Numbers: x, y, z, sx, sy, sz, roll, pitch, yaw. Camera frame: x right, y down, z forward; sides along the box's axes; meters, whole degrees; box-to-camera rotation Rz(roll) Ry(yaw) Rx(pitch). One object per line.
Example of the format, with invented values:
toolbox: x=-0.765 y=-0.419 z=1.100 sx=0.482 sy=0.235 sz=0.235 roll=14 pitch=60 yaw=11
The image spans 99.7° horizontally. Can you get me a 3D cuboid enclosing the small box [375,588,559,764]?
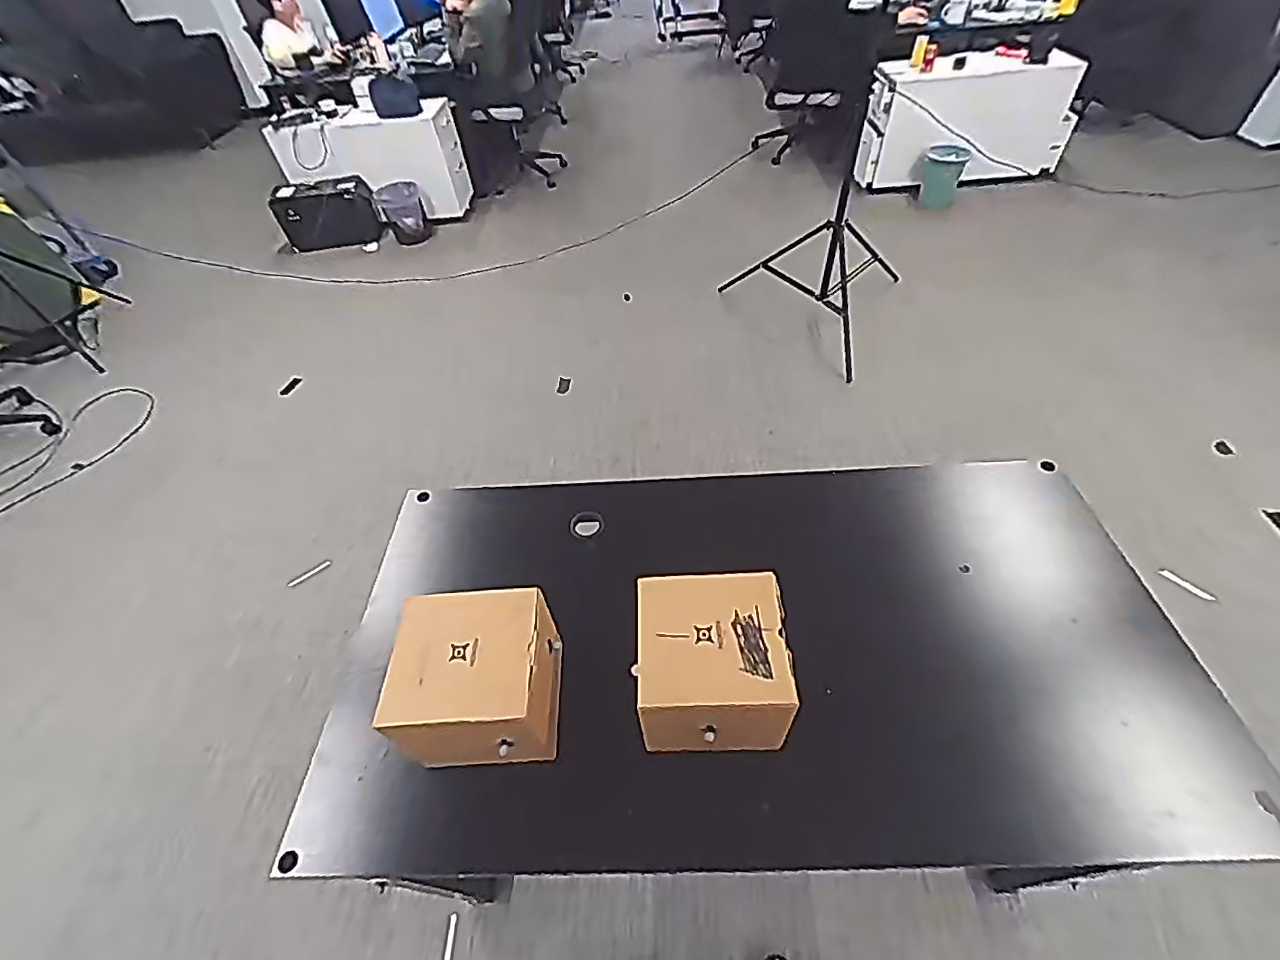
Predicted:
small box: x=-0.206 y=0.260 z=0.710 sx=0.179 sy=0.176 sz=0.168 roll=-5 pitch=48 yaw=1

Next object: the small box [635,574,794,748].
small box: x=0.088 y=0.236 z=0.700 sx=0.179 sy=0.176 sz=0.168 roll=-3 pitch=49 yaw=4
